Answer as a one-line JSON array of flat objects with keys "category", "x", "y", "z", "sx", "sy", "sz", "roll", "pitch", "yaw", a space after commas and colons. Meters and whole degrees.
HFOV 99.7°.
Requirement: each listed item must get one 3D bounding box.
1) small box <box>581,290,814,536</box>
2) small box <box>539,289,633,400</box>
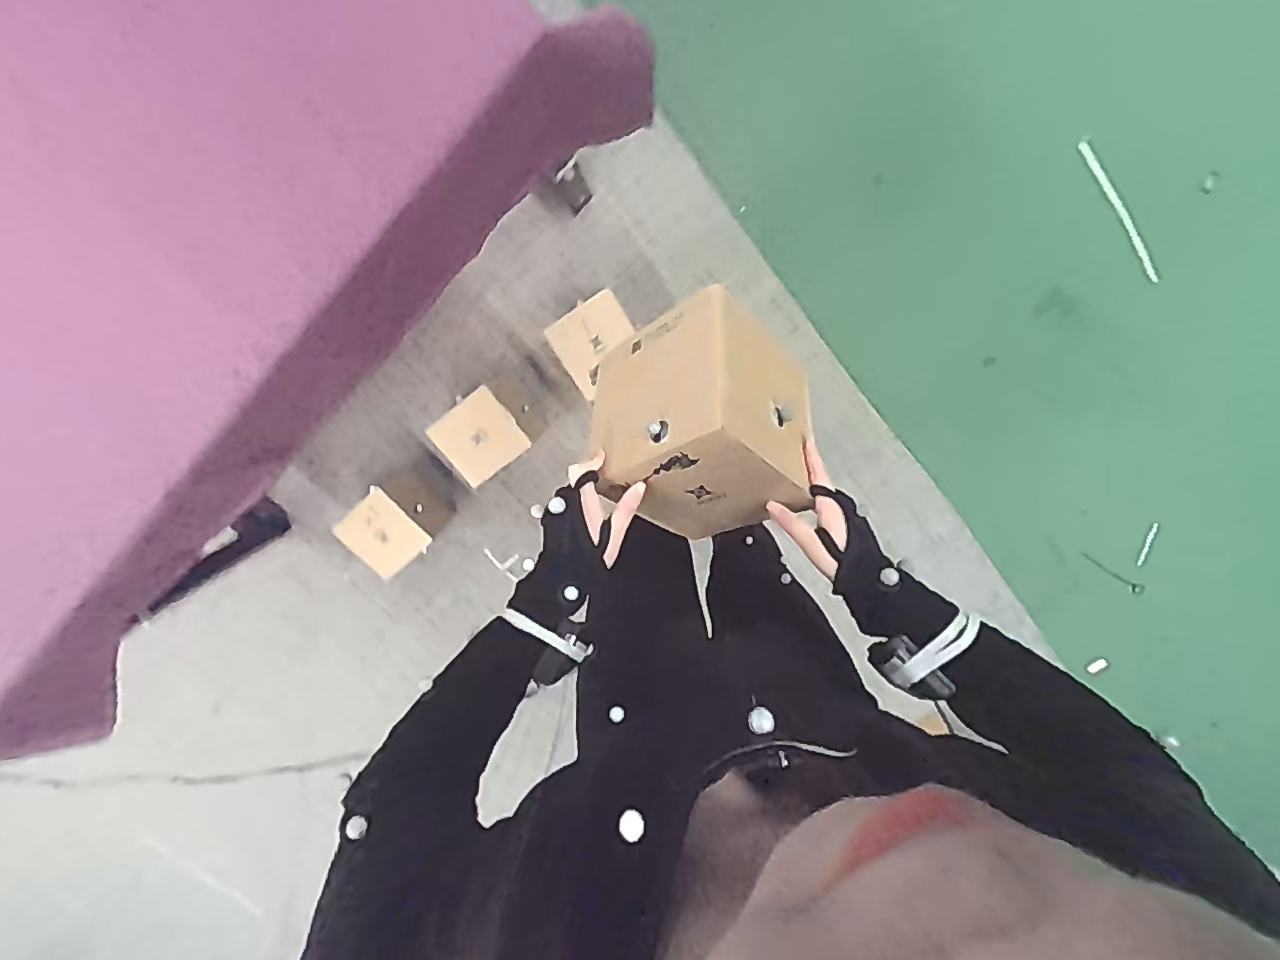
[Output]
[{"category": "small box", "x": 0.063, "y": -0.060, "z": 0.567, "sx": 0.168, "sy": 0.176, "sz": 0.179, "roll": -22, "pitch": 143, "yaw": 38}, {"category": "small box", "x": -0.096, "y": -0.302, "z": 1.202, "sx": 0.168, "sy": 0.176, "sz": 0.179, "roll": -31, "pitch": 103, "yaw": 8}]
